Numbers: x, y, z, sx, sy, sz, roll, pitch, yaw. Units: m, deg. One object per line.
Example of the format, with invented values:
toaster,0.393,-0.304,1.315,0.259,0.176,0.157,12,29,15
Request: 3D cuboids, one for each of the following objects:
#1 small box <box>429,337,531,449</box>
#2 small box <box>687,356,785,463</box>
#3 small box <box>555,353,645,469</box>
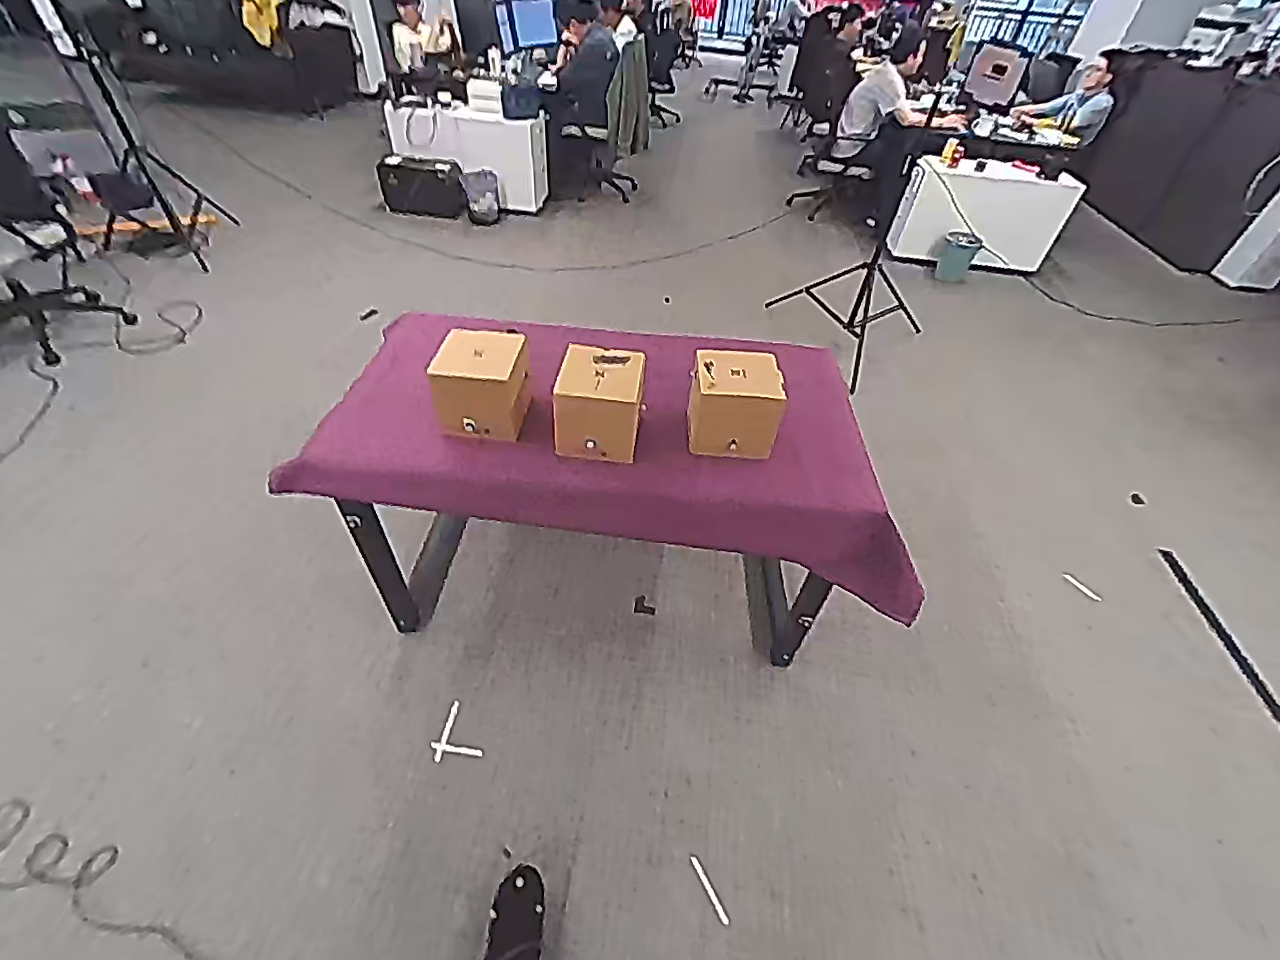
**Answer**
small box,-0.339,-0.190,1.186,0.168,0.176,0.179,4,45,0
small box,0.203,-0.153,1.196,0.179,0.176,0.168,4,44,-2
small box,-0.084,-0.148,1.164,0.168,0.176,0.179,6,44,2
